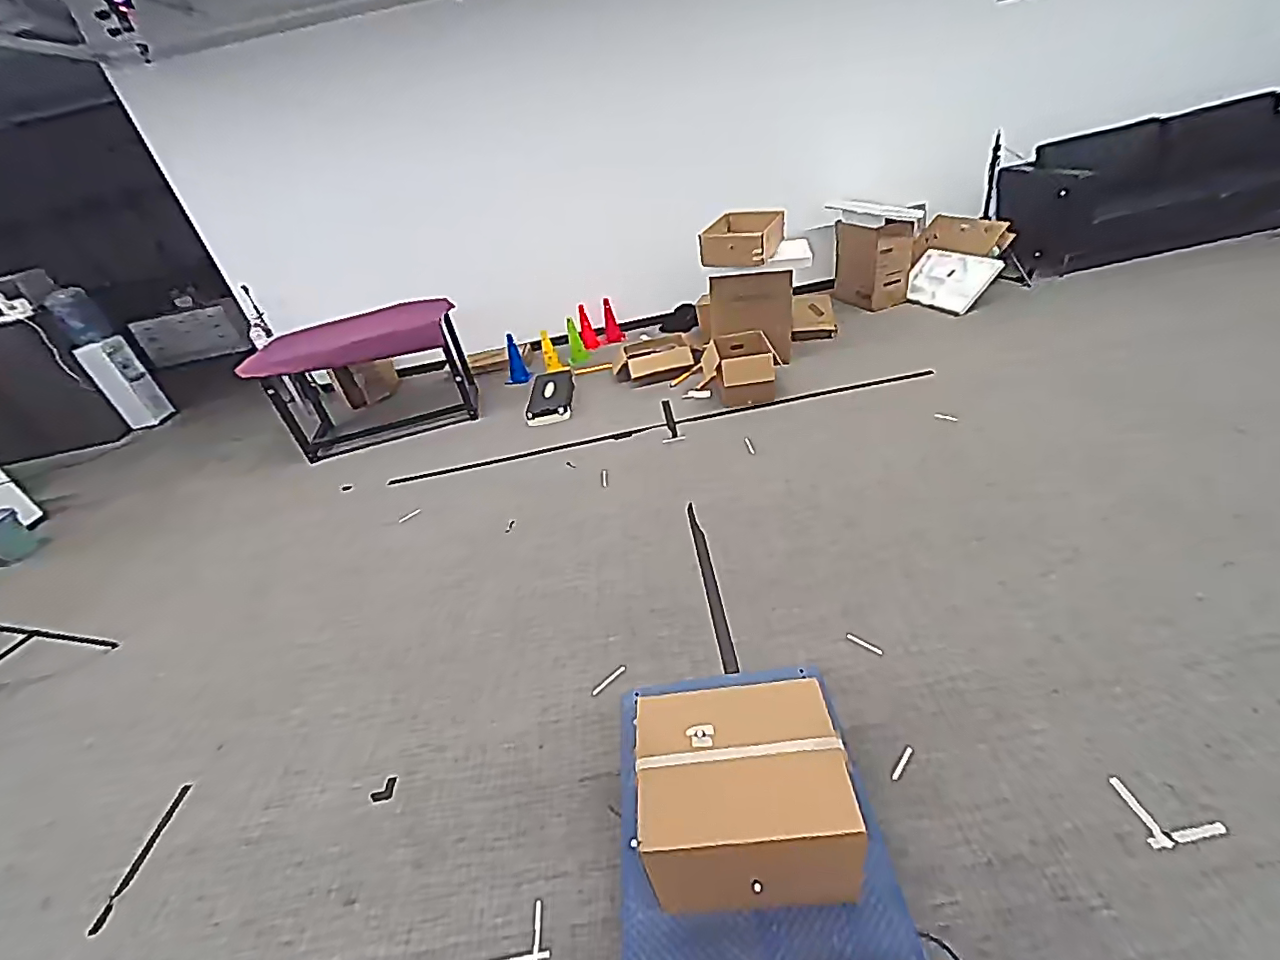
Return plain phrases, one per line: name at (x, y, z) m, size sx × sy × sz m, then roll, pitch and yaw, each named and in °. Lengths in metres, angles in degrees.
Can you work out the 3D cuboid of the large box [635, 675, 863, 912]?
large box at (0.216, 0.663, 1.148) m, size 0.408 × 0.320 × 0.320 m, roll -10°, pitch 32°, yaw 6°
